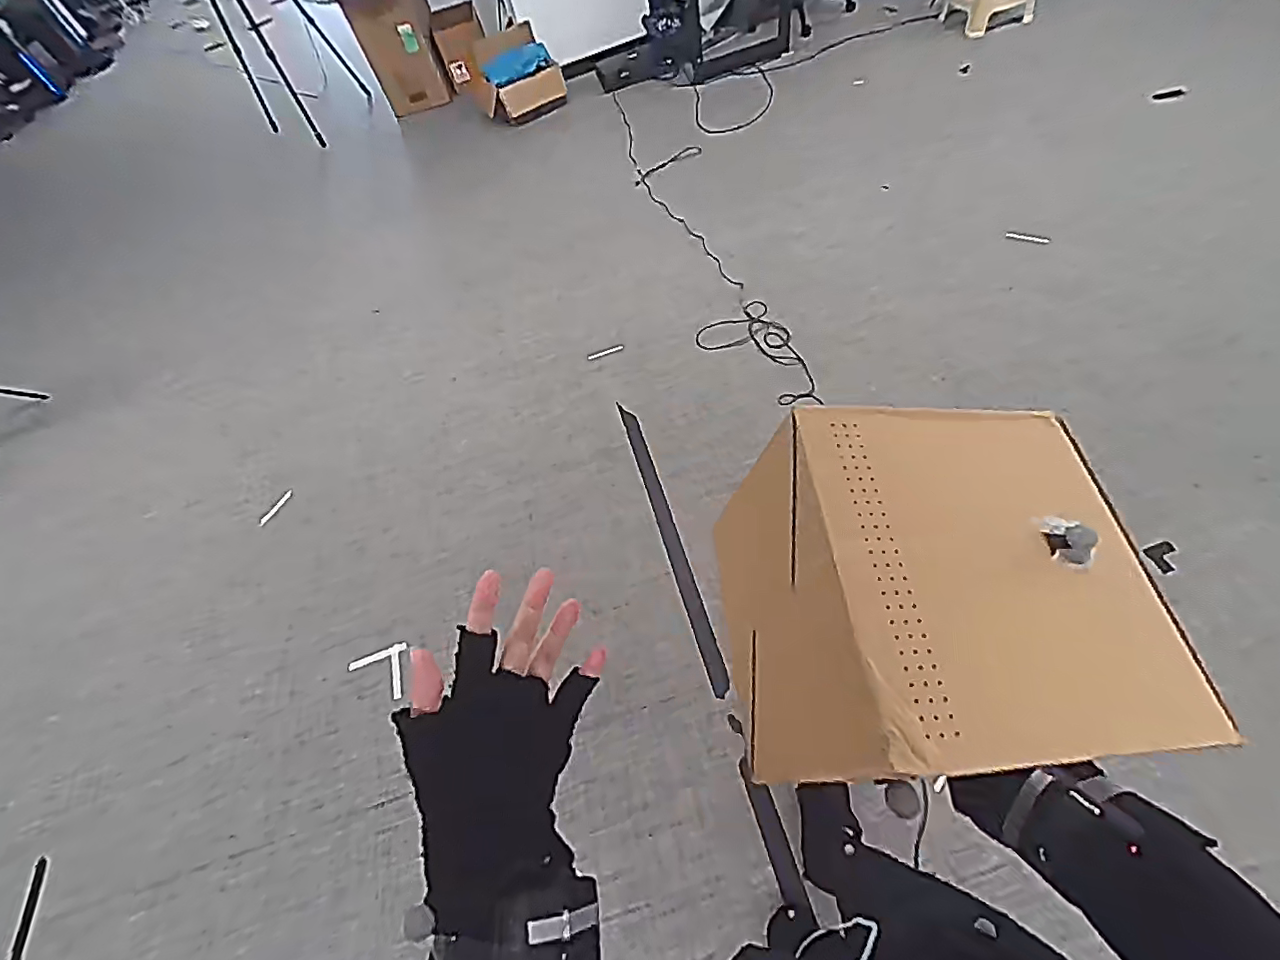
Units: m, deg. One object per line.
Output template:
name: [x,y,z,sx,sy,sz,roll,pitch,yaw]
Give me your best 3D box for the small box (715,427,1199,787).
small box: [0.152,0.081,0.337,0.176,0.168,0.179,0,60,-9]
